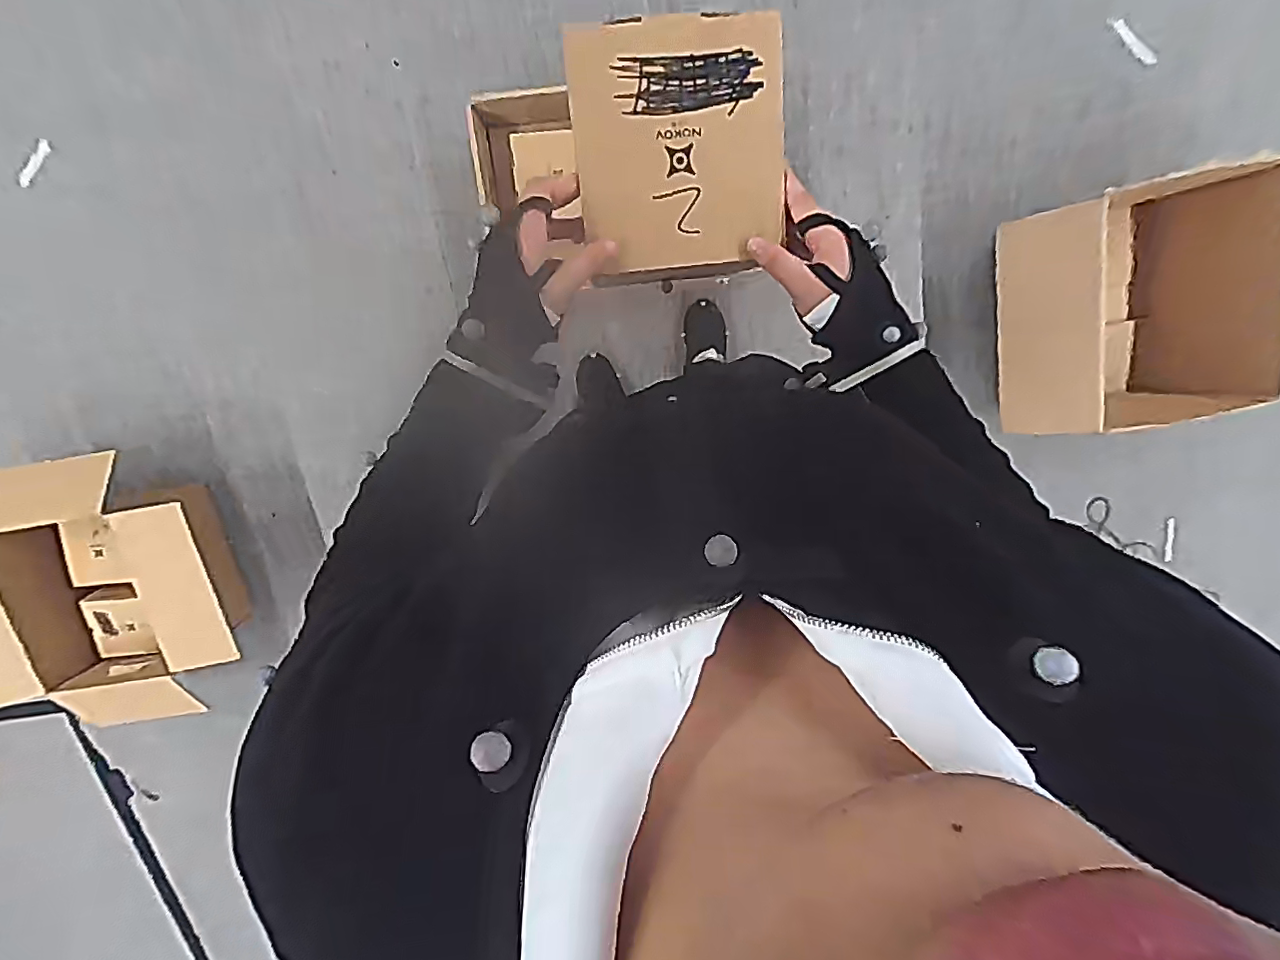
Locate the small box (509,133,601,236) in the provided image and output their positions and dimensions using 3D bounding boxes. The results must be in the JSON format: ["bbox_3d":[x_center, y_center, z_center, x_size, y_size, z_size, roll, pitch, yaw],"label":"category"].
[{"bbox_3d":[-0.183,-0.653,1.212,0.179,0.176,0.168,-6,107,-3],"label":"small box"}]
